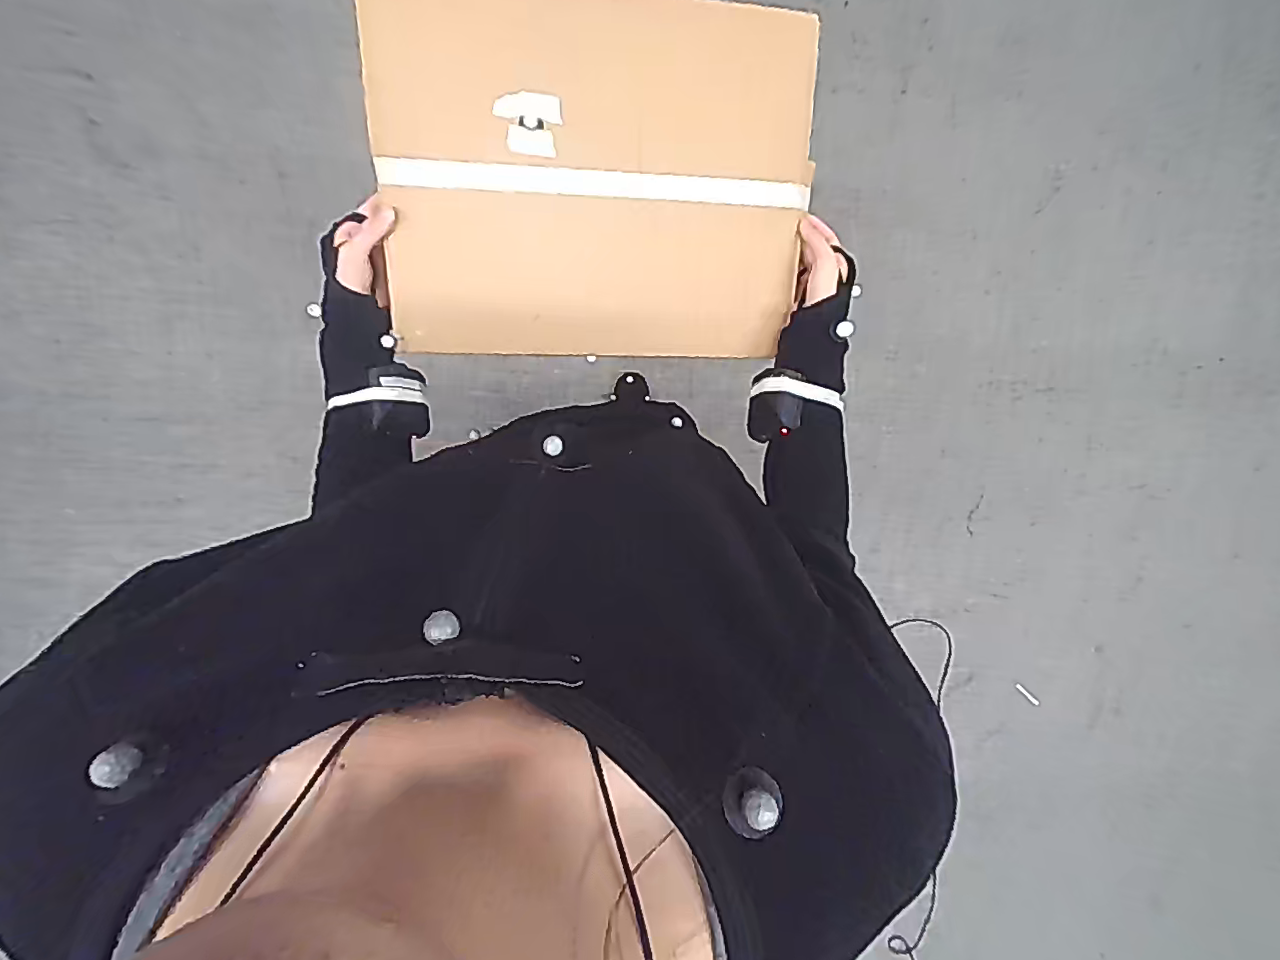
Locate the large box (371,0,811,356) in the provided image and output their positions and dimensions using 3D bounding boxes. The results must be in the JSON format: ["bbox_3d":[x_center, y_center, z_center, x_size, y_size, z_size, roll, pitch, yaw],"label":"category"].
[{"bbox_3d":[-0.056,-0.328,0.668,0.408,0.320,0.320,-1,107,-9],"label":"large box"}]
